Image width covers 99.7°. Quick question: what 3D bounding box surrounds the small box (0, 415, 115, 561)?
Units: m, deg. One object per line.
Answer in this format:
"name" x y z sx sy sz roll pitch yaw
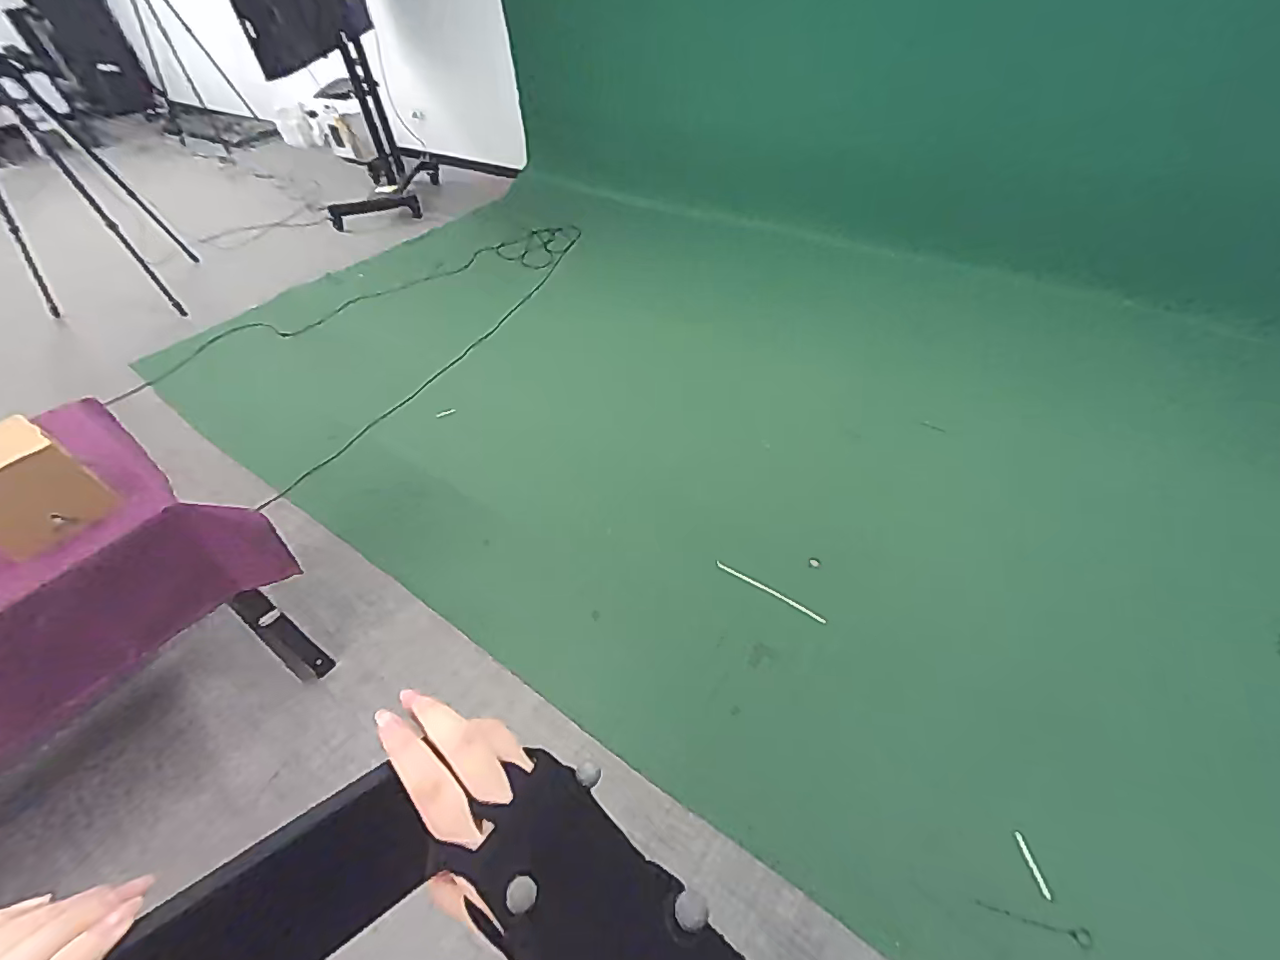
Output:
"small box" -1.148 0.014 1.010 0.168 0.176 0.179 25 53 26
